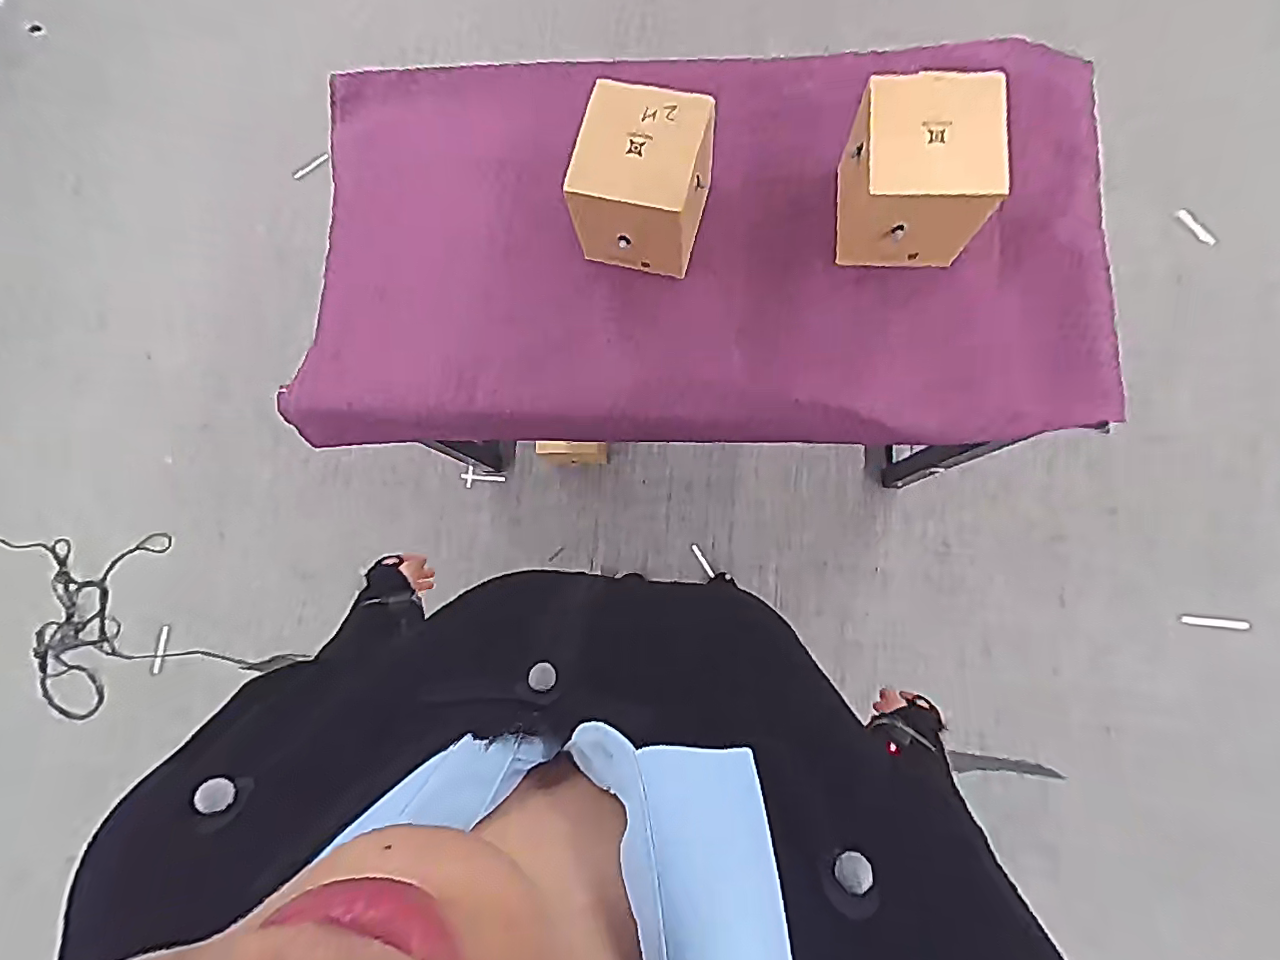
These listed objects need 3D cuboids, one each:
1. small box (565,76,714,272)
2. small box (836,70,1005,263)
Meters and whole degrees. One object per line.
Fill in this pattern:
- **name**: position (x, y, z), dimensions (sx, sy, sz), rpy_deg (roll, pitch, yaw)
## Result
- **small box**: position (0.006, -0.437, 0.797), dimensions (0.168, 0.176, 0.179), rpy_deg (15, 82, 7)
- **small box**: position (0.382, -0.427, 0.762), dimensions (0.168, 0.176, 0.179), rpy_deg (3, 80, 7)
